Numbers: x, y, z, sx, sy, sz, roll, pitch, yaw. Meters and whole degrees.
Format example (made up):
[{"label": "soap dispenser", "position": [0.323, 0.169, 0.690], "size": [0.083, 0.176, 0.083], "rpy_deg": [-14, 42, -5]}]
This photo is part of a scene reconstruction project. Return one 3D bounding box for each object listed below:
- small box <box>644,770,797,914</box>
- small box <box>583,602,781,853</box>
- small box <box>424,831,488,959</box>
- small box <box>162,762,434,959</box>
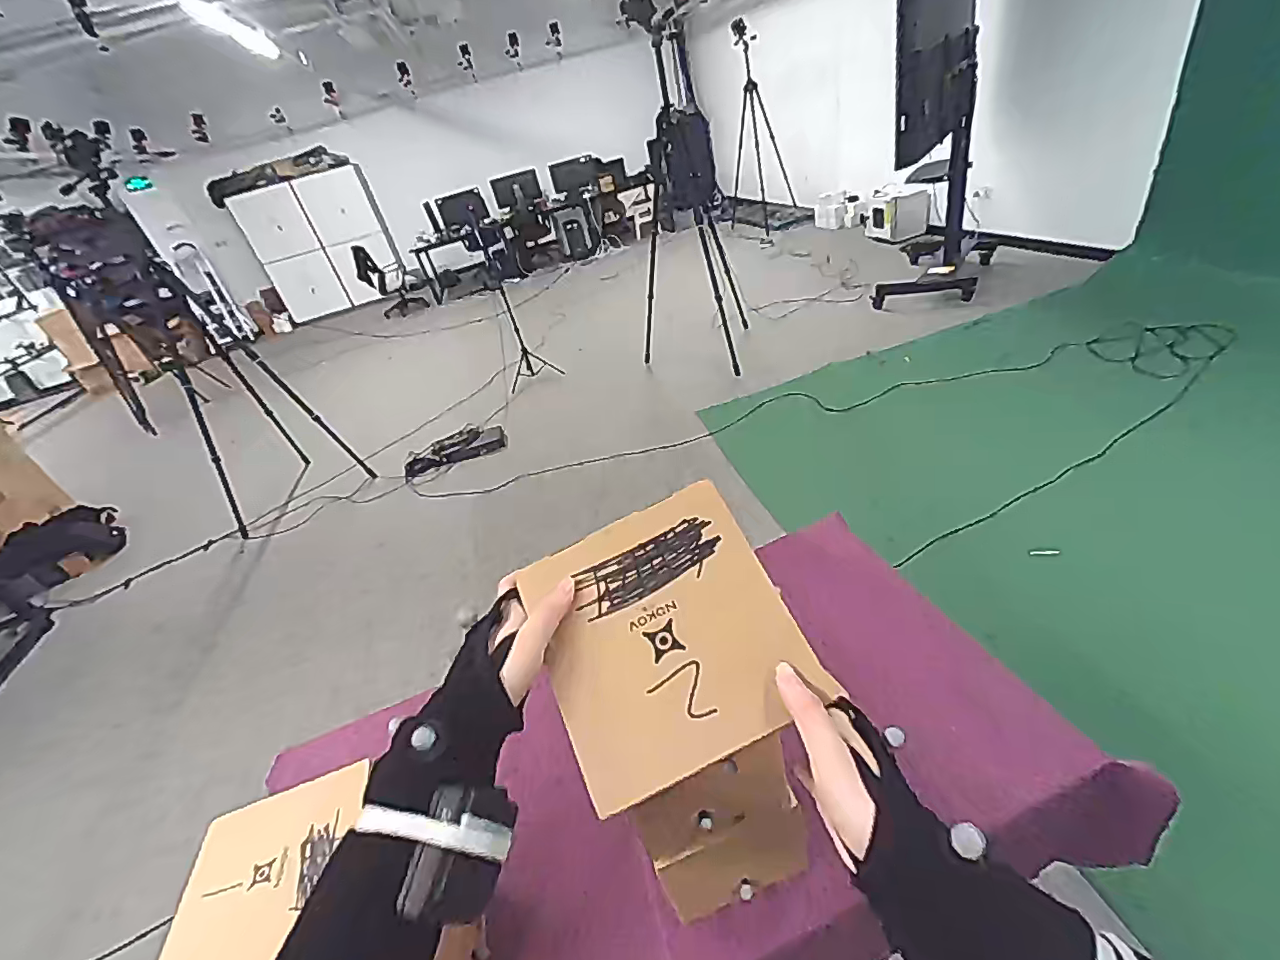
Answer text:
[{"label": "small box", "position": [0.090, 0.417, 0.708], "size": [0.179, 0.176, 0.168], "rpy_deg": [-20, 33, -7]}, {"label": "small box", "position": [0.047, 0.282, 0.627], "size": [0.168, 0.176, 0.179], "rpy_deg": [-21, 35, -6]}, {"label": "small box", "position": [-0.297, 0.572, 0.647], "size": [0.179, 0.176, 0.168], "rpy_deg": [-19, 34, -6]}, {"label": "small box", "position": [-0.331, 0.437, 0.558], "size": [0.179, 0.176, 0.168], "rpy_deg": [-21, 34, -6]}]
